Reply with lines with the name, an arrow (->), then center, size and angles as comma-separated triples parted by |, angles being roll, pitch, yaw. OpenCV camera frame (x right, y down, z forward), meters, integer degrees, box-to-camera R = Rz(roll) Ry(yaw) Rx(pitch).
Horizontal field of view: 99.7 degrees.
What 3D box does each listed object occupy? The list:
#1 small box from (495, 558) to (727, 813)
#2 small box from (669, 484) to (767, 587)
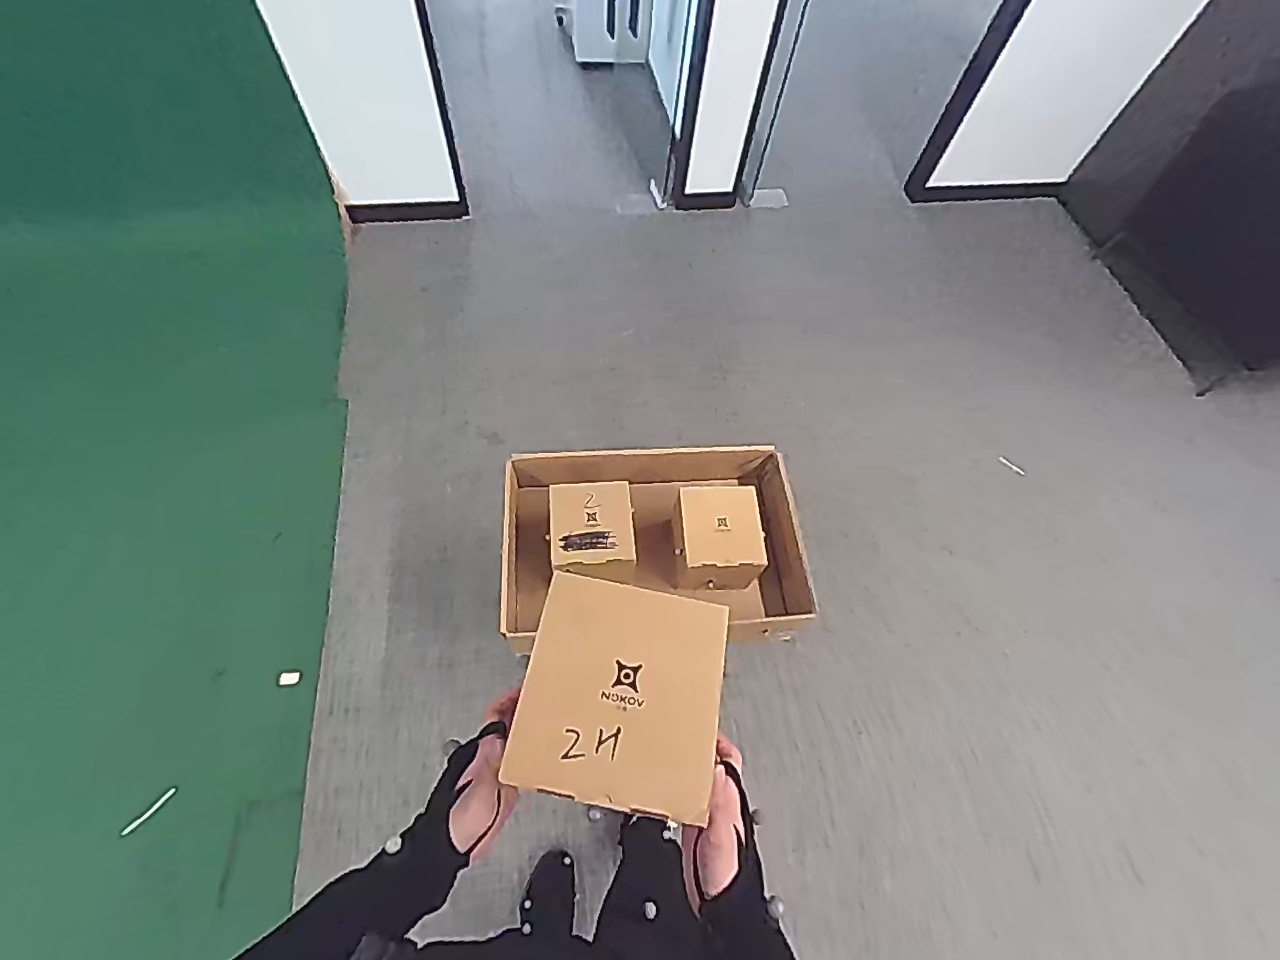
small box -> -0.024, 0.199, 0.515 | 0.168, 0.176, 0.179 | 11, 59, 1
small box -> 0.159, 0.122, 1.162 | 0.168, 0.176, 0.179 | -1, 63, -6
